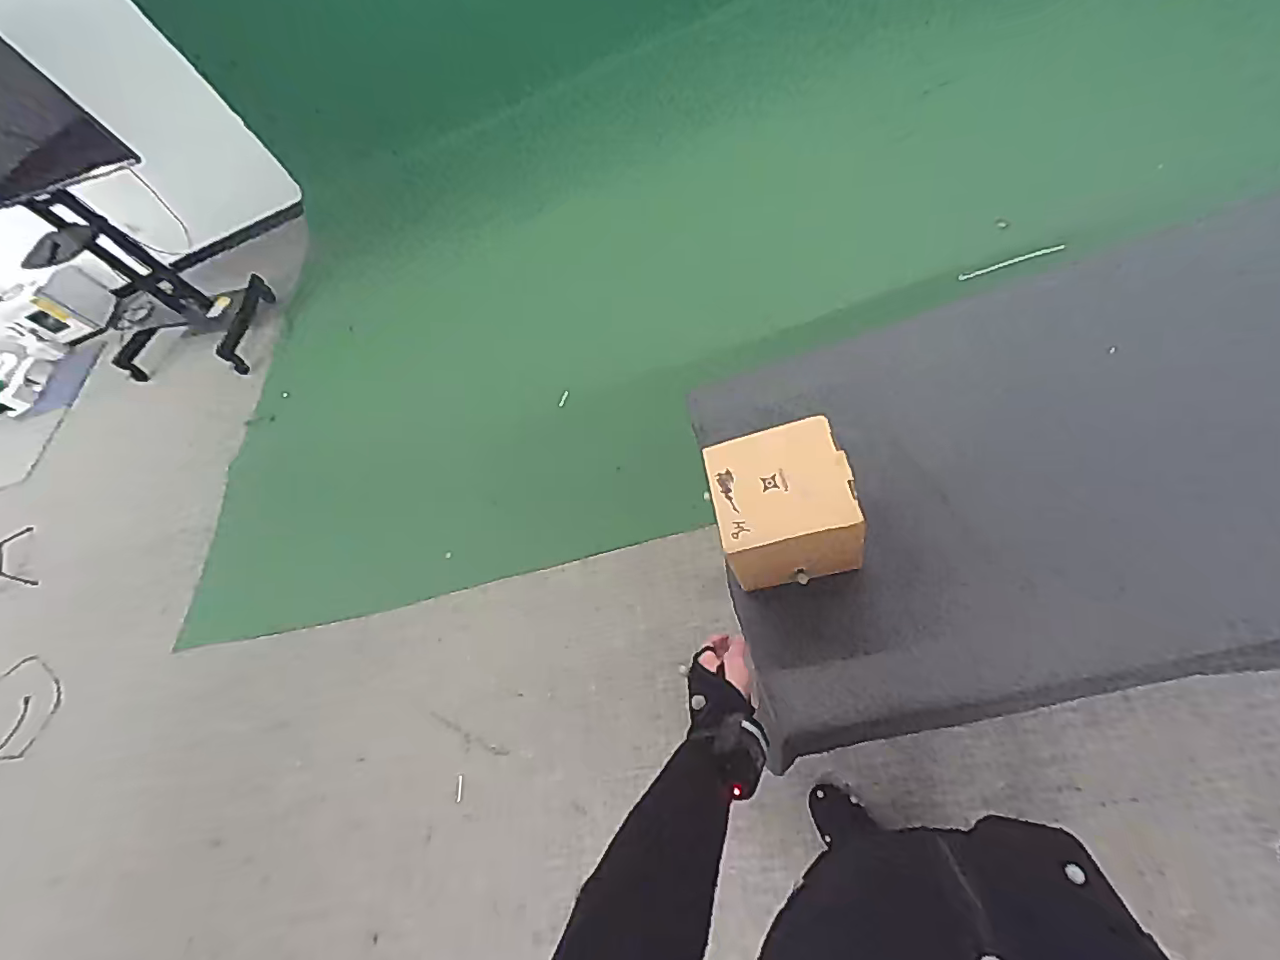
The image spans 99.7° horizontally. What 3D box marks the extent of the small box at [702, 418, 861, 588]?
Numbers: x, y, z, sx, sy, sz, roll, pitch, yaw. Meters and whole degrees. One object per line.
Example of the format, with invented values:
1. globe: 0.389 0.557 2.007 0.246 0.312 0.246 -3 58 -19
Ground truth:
1. small box: 0.199 0.040 0.771 0.179 0.176 0.168 -14 59 12
